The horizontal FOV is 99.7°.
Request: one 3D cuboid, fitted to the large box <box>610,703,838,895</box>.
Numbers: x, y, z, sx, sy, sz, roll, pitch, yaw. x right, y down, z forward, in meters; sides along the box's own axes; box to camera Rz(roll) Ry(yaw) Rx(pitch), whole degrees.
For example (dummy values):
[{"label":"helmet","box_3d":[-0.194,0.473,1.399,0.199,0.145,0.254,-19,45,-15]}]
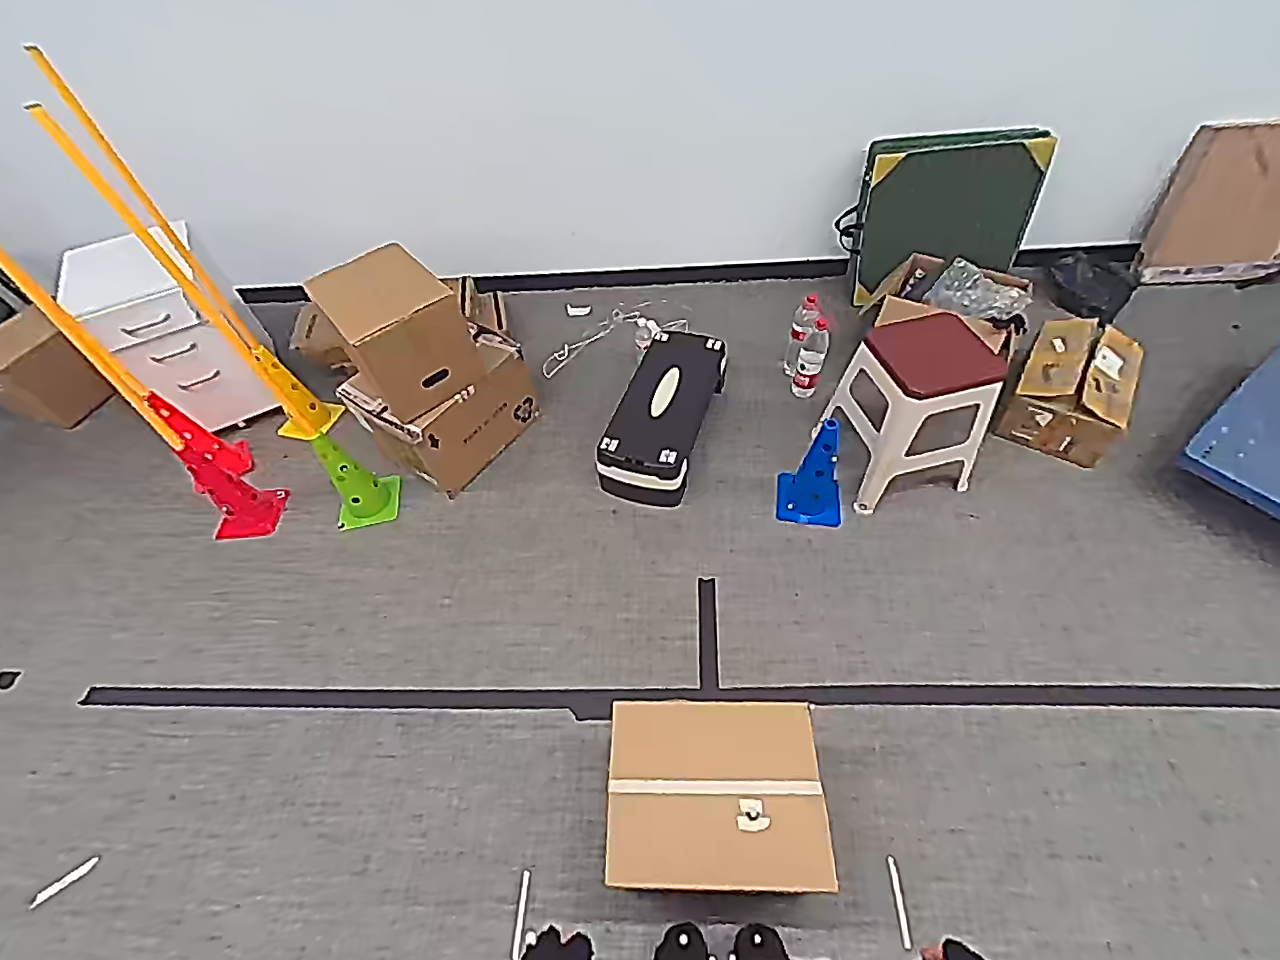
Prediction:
[{"label":"large box","box_3d":[0.151,0.679,1.144,0.408,0.320,0.320,-1,52,3]}]
